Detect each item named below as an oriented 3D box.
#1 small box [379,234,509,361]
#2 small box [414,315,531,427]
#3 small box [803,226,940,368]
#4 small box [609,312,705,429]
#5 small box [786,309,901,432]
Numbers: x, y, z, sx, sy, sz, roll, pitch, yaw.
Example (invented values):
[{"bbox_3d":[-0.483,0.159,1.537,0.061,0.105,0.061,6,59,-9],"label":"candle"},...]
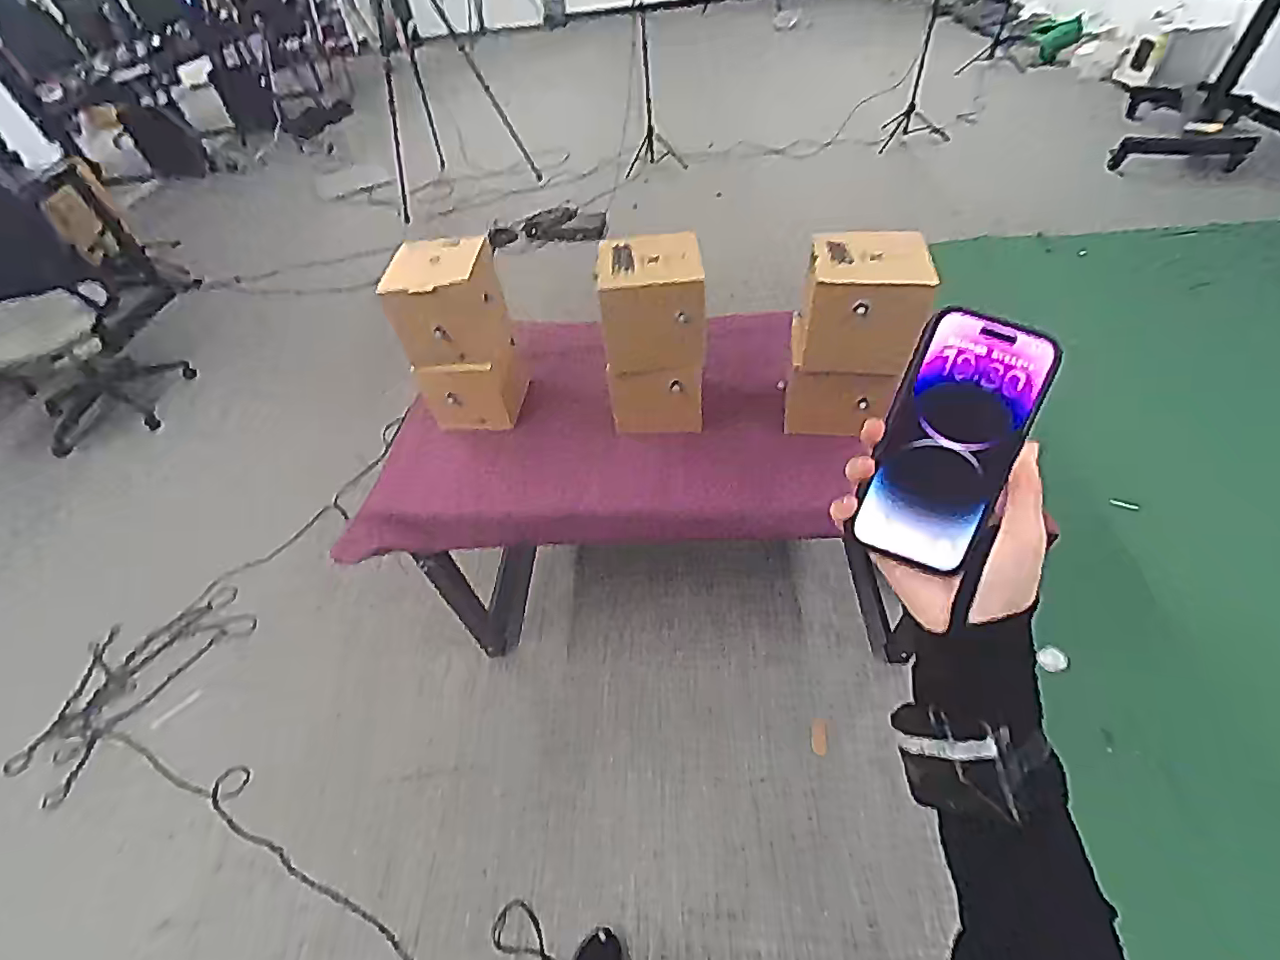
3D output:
[{"bbox_3d":[-0.359,-0.342,1.033,0.168,0.176,0.179,-4,50,4],"label":"small box"},{"bbox_3d":[-0.344,-0.227,1.151,0.168,0.176,0.179,0,49,7],"label":"small box"},{"bbox_3d":[0.370,-0.303,0.902,0.179,0.176,0.168,4,50,11],"label":"small box"},{"bbox_3d":[0.043,-0.216,1.087,0.179,0.176,0.168,-1,49,7],"label":"small box"},{"bbox_3d":[0.380,-0.208,1.036,0.179,0.176,0.168,4,50,12],"label":"small box"}]
